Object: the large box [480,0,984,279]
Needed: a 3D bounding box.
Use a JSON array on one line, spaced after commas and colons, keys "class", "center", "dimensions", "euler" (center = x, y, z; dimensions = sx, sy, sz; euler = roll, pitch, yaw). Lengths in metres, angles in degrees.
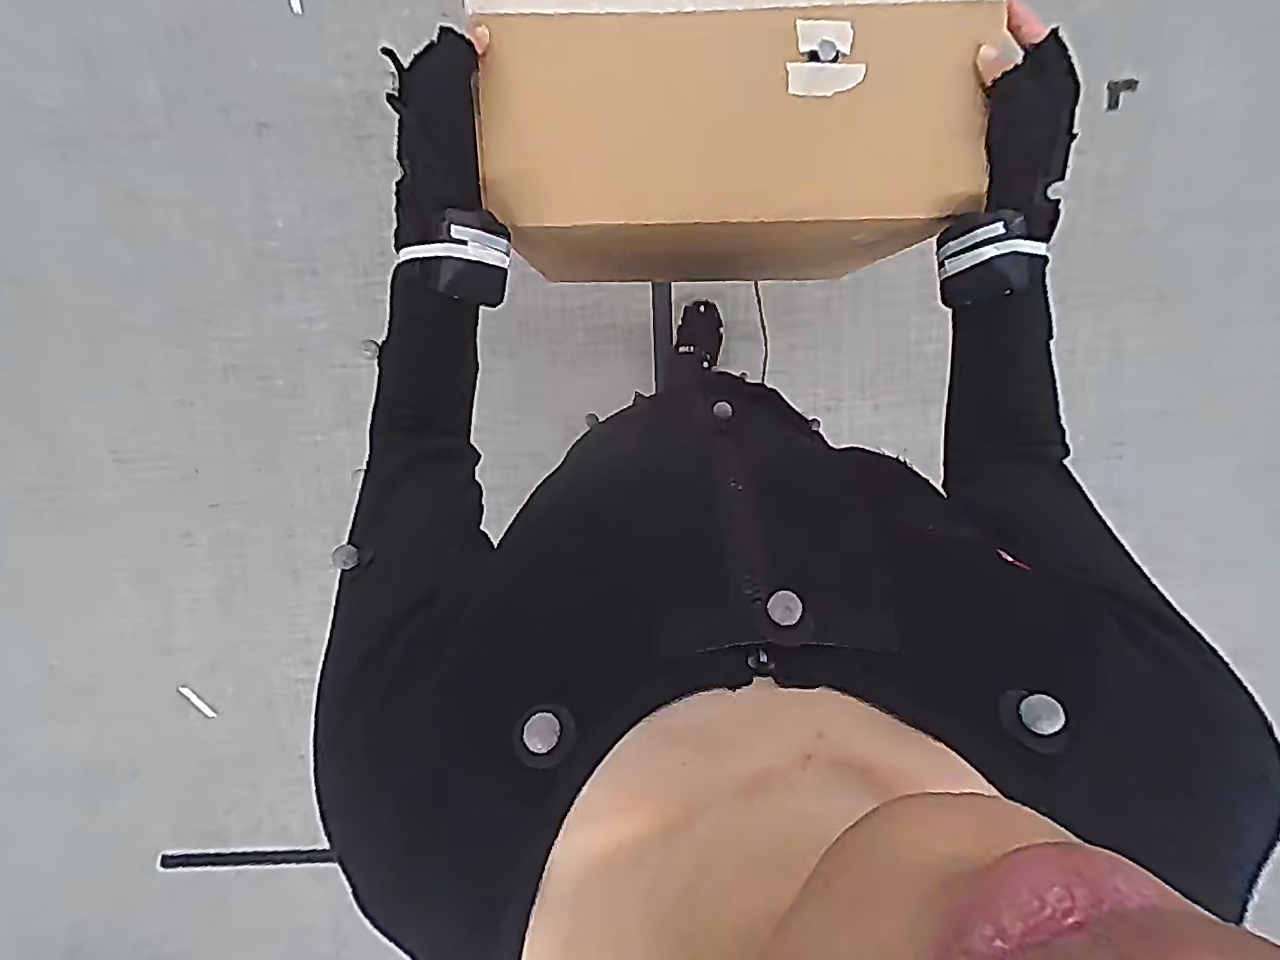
[{"class": "large box", "center": [0.068, -0.403, 0.568], "dimensions": [0.408, 0.320, 0.320], "euler": [-2, 103, -1]}]
